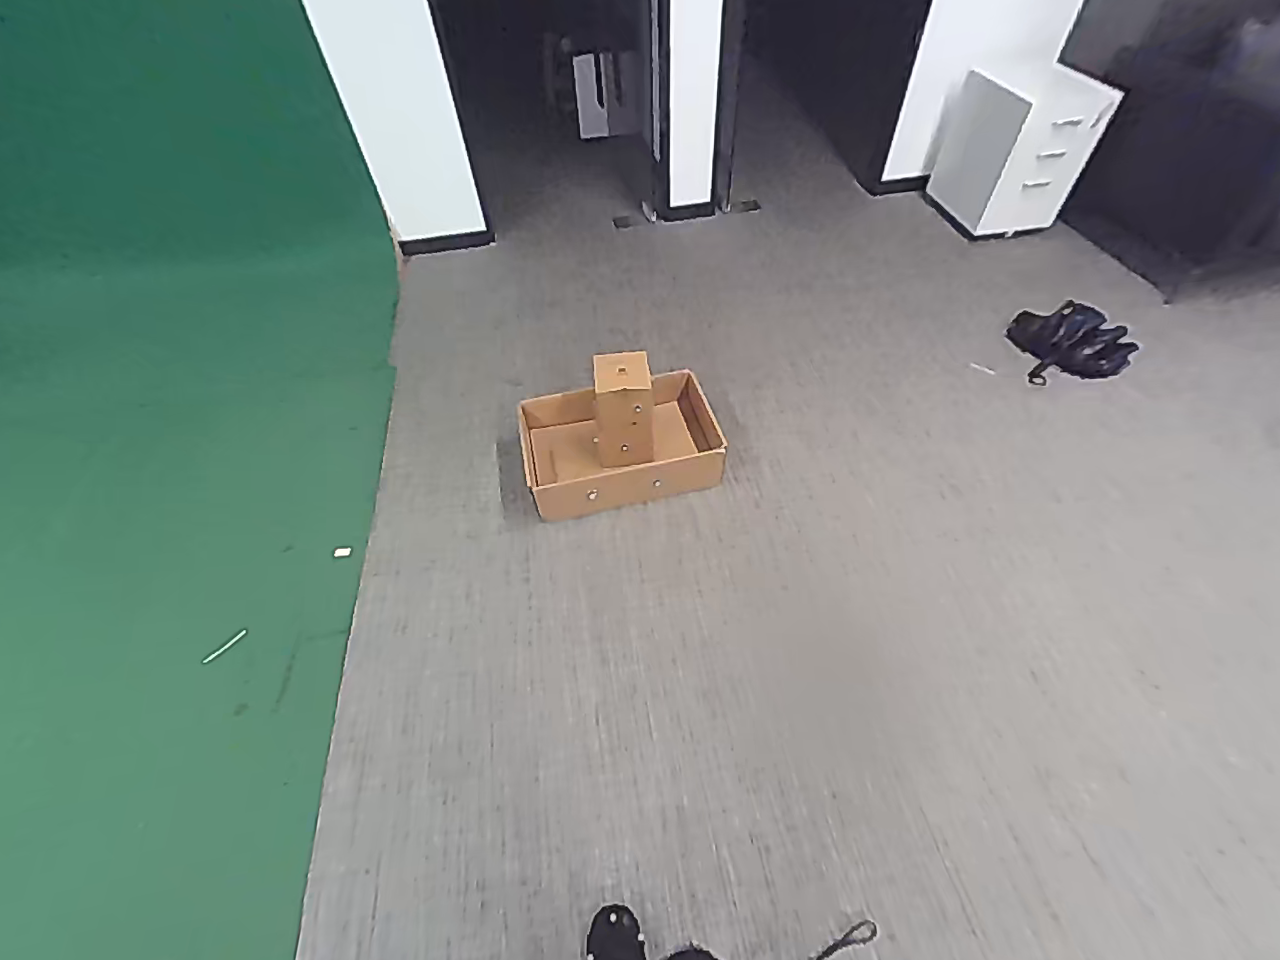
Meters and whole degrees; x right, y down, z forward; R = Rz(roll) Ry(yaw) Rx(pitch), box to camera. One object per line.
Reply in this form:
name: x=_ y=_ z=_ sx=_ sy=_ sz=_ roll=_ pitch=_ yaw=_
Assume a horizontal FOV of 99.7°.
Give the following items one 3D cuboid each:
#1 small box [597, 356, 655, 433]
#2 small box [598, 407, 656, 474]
small box: x=-0.042 y=-0.259 z=1.681 sx=0.168 sy=0.176 sz=0.179 roll=-5 pitch=49 yaw=-2
small box: x=-0.040 y=-0.141 z=1.815 sx=0.179 sy=0.176 sz=0.168 roll=-9 pitch=50 yaw=0
